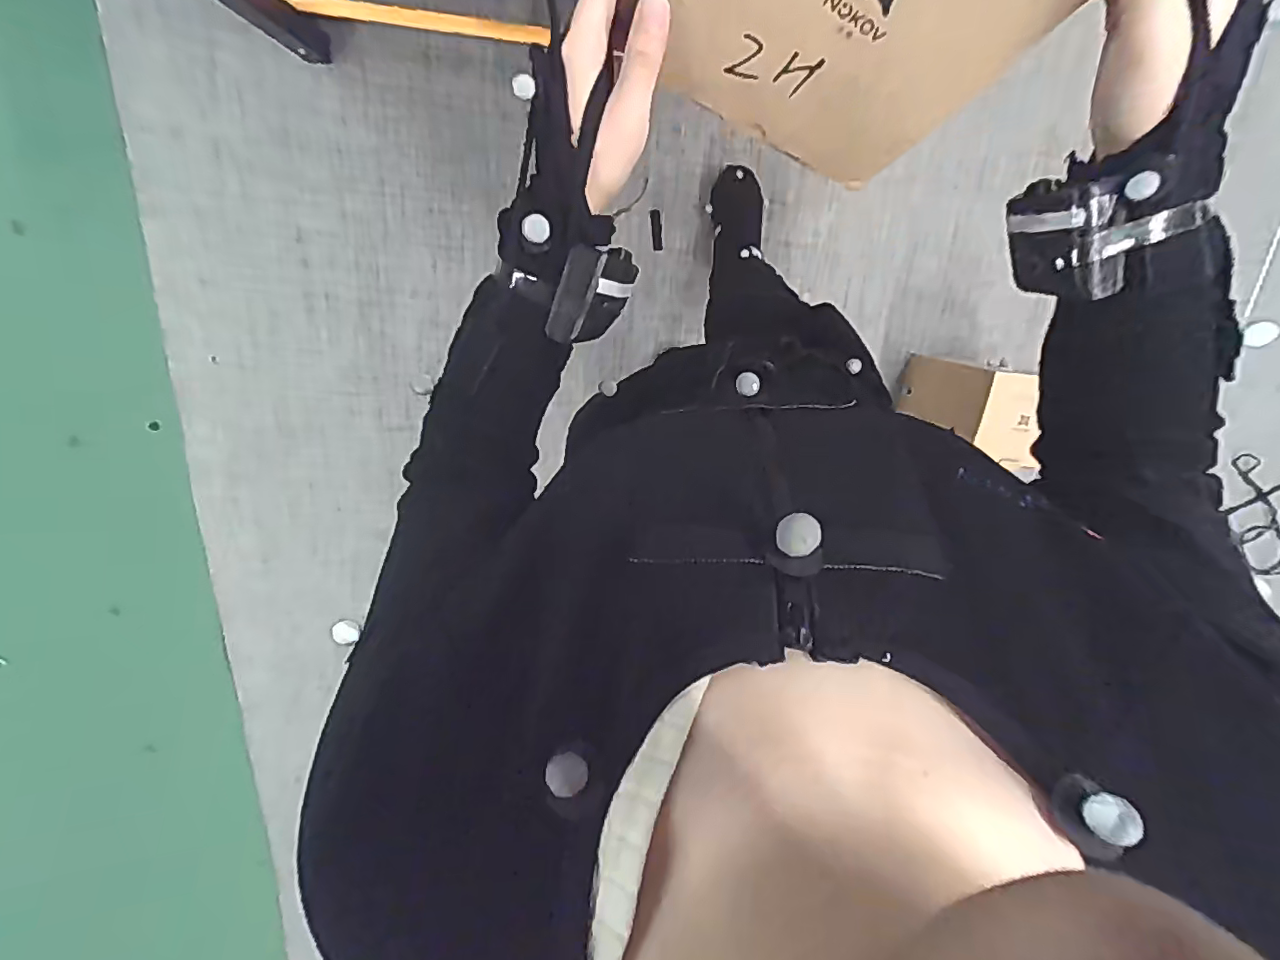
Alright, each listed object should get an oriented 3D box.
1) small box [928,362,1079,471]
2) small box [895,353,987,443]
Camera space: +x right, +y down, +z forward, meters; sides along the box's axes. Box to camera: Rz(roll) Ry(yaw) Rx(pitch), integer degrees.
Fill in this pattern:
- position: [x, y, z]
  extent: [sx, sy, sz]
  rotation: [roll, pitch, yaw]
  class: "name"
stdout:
- position: [0.705, -0.131, 1.076]
  extent: [0.168, 0.176, 0.179]
  rotation: [5, 108, -2]
  class: "small box"
- position: [0.710, -0.181, 1.231]
  extent: [0.168, 0.176, 0.179]
  rotation: [8, 110, -2]
  class: "small box"
